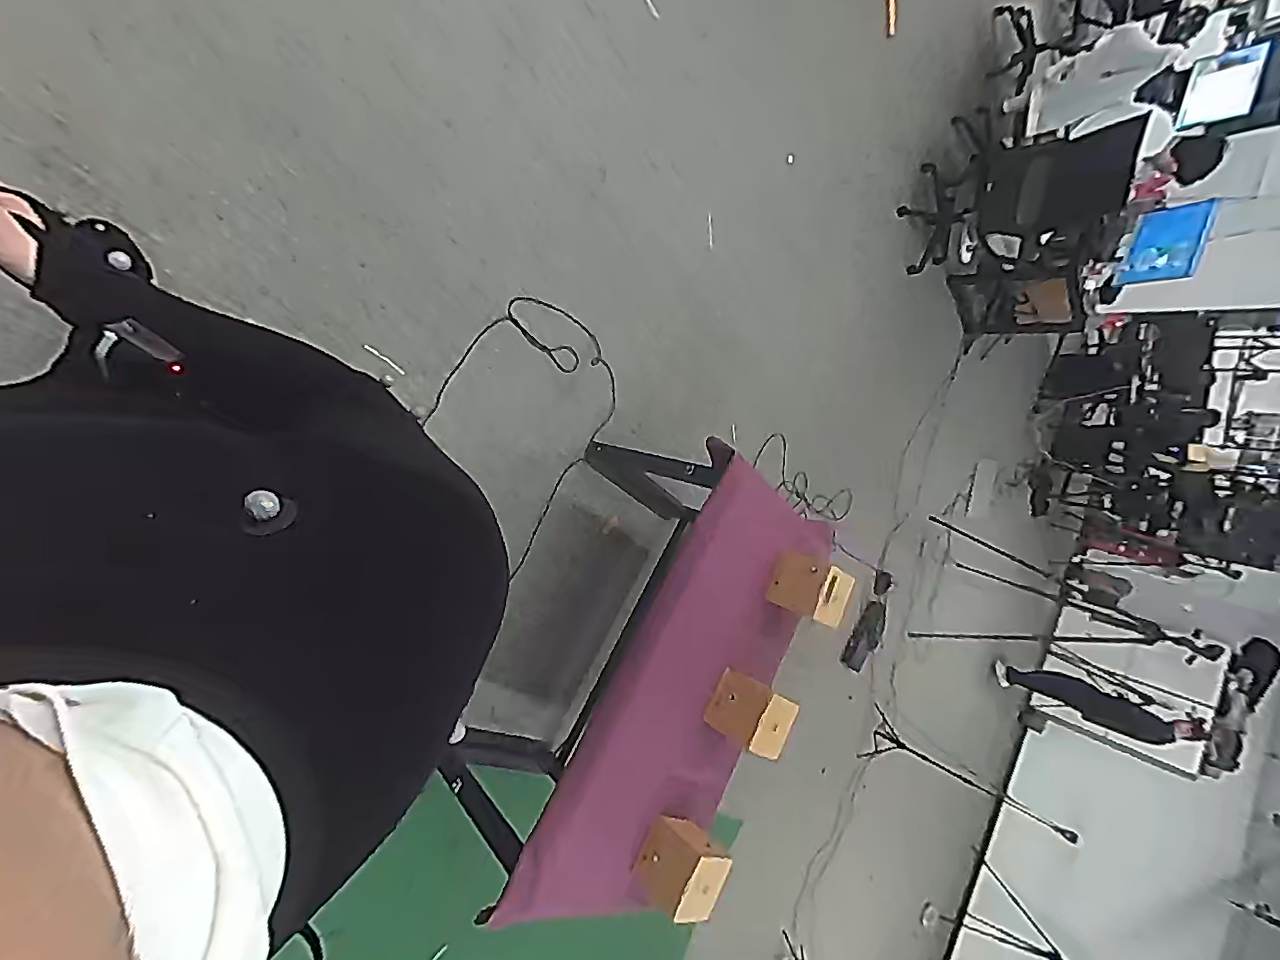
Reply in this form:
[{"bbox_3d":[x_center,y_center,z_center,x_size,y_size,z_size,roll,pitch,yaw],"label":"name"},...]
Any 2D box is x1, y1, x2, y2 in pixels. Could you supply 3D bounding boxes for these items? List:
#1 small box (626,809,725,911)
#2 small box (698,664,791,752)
[{"bbox_3d":[0.097,1.040,1.487,0.179,0.176,0.168,40,73,-40],"label":"small box"},{"bbox_3d":[0.303,0.662,1.580,0.179,0.176,0.168,38,75,-40],"label":"small box"}]
